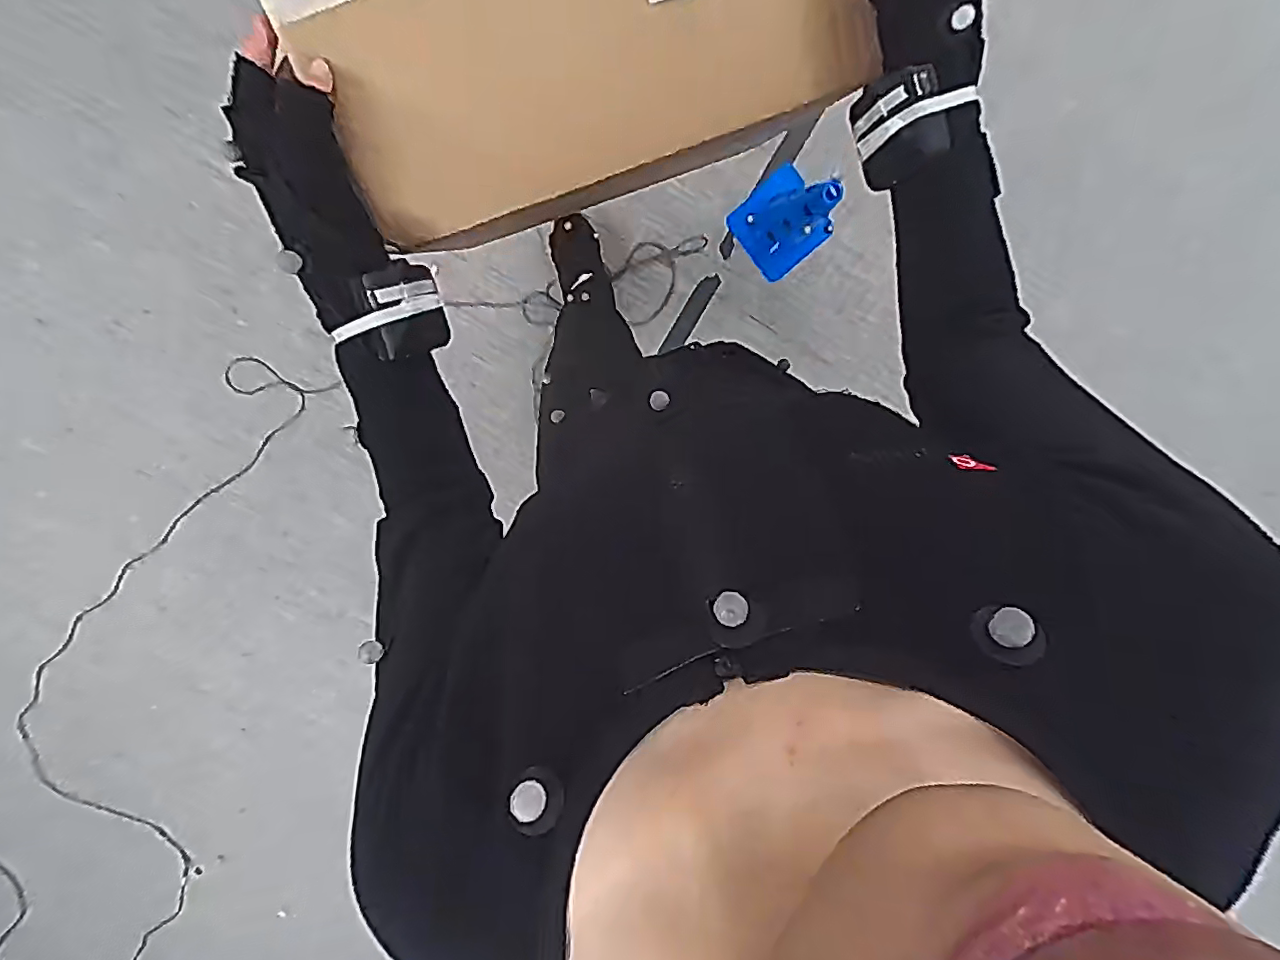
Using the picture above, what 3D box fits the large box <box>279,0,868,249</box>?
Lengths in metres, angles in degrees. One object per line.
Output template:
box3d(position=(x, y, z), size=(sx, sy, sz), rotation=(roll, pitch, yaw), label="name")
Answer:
box3d(position=(-0.074, -0.441, 0.500), size=(0.408, 0.320, 0.320), rotation=(-19, 114, 2), label="large box")

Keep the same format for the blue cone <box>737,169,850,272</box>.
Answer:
box3d(position=(0.356, -0.588, 1.167), size=(0.192, 0.380, 0.193), rotation=(-38, 103, 9), label="blue cone")
